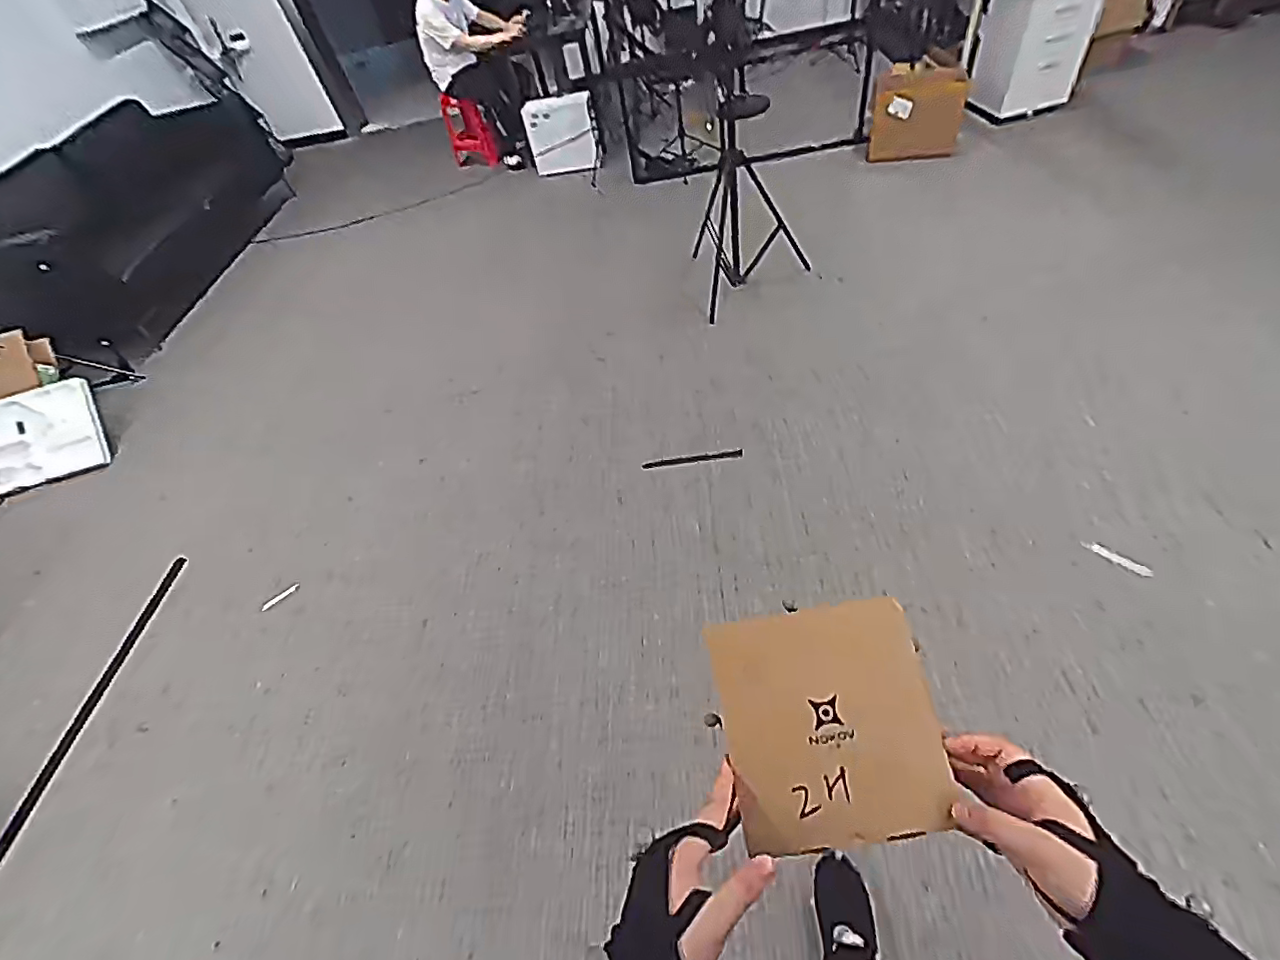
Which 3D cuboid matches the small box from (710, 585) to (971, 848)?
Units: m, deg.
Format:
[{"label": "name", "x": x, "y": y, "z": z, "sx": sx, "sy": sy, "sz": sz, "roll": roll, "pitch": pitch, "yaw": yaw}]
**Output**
[{"label": "small box", "x": 0.162, "y": 0.203, "z": 0.505, "sx": 0.168, "sy": 0.176, "sz": 0.179, "roll": -11, "pitch": 76, "yaw": 4}]
